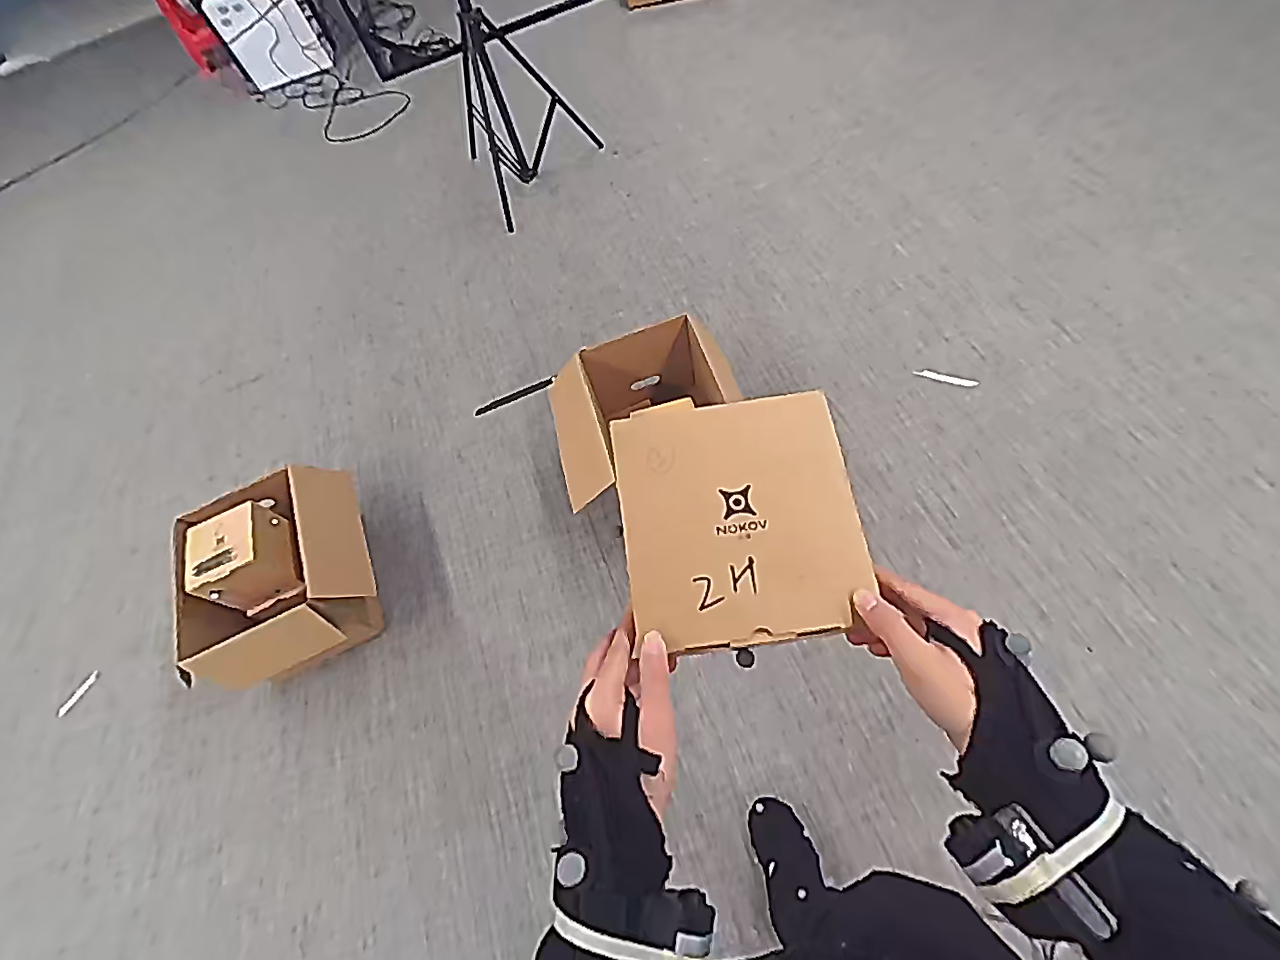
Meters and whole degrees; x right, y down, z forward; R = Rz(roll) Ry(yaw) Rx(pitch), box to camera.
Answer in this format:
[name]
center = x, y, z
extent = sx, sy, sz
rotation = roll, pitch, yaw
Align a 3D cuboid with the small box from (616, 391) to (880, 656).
[small box]
center = 0.074, 0.048, 0.463
extent = 0.168, 0.176, 0.179
rotation = -8, 70, 1
